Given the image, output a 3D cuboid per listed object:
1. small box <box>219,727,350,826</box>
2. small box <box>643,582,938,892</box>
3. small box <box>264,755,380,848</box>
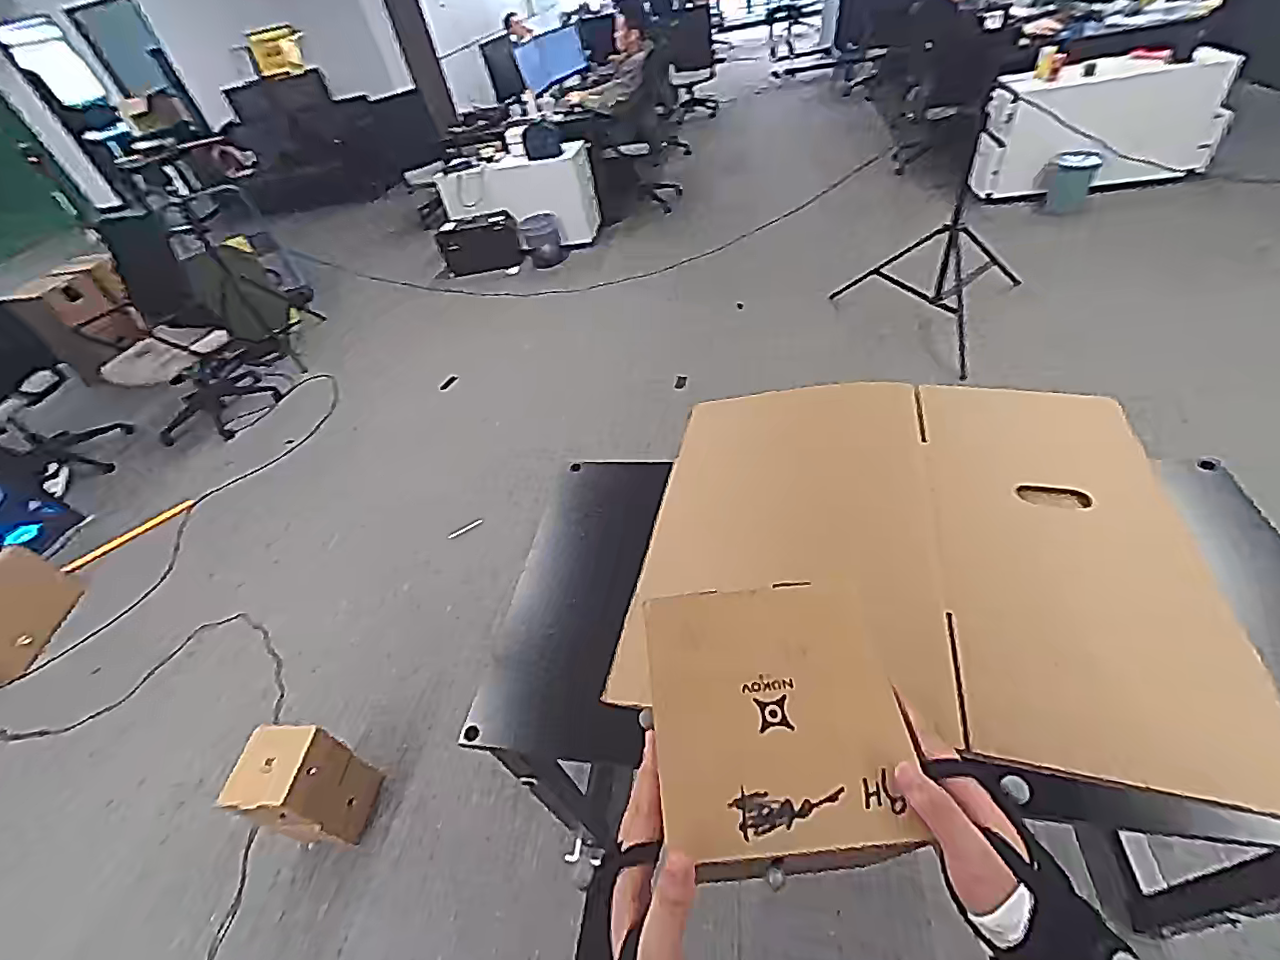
[{"bbox_3d":[-0.840,0.716,1.302,0.168,0.176,0.179,-4,43,8],"label":"small box"},{"bbox_3d":[0.093,0.205,0.431,0.168,0.176,0.179,-7,49,0],"label":"small box"},{"bbox_3d":[-0.813,0.835,1.410,0.168,0.176,0.179,-3,45,10],"label":"small box"}]
